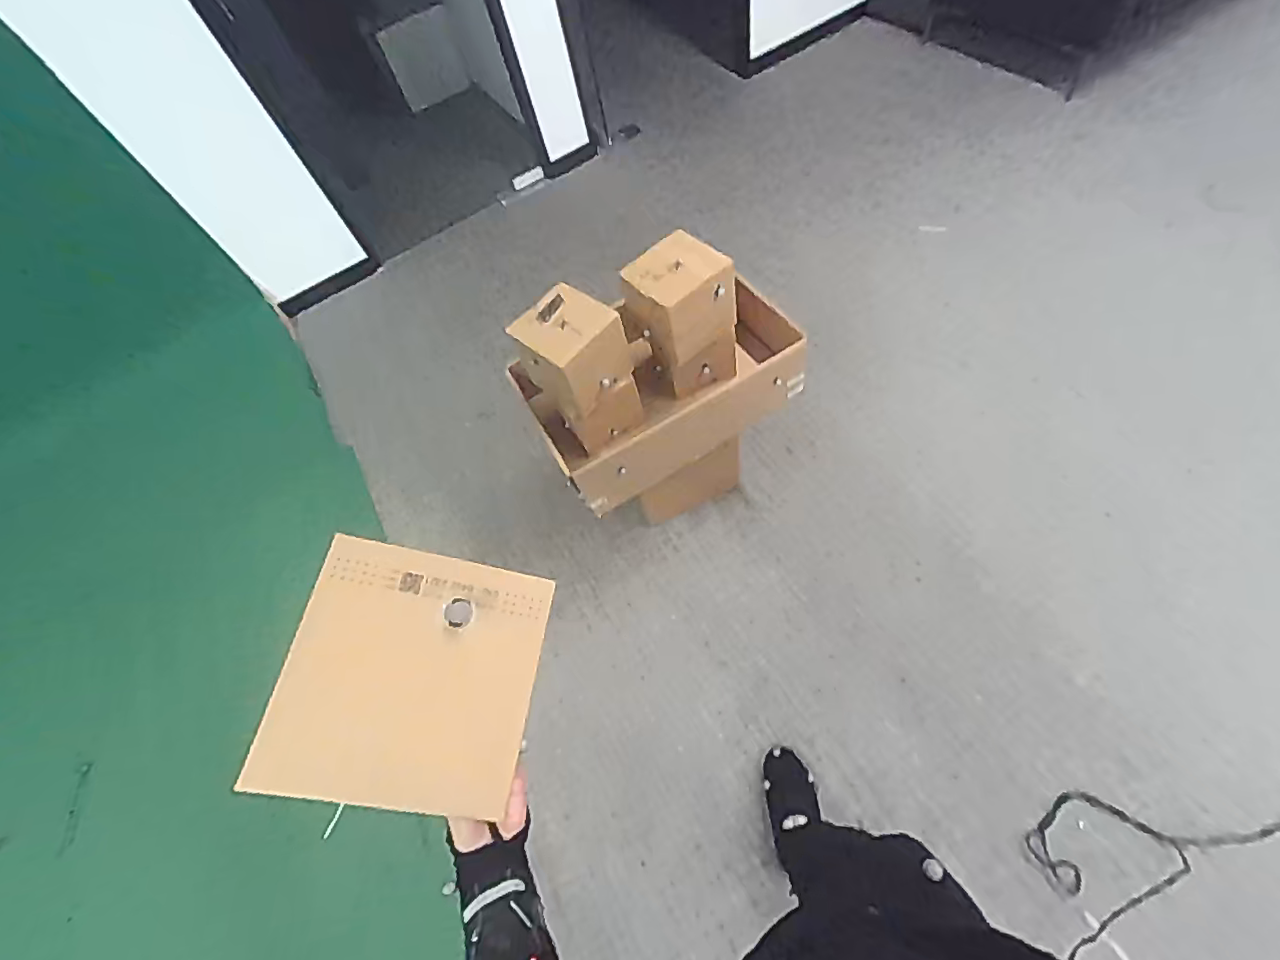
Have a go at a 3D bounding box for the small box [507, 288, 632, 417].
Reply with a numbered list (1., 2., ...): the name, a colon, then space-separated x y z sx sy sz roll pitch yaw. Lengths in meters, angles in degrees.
1. small box: -0.142 -0.263 1.137 0.179 0.176 0.168 36 73 26

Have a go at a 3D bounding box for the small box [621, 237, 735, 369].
1. small box: 0.085 -0.376 1.157 0.179 0.176 0.168 -38 58 -11

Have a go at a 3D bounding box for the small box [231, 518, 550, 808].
1. small box: -0.178 0.147 0.443 0.168 0.179 0.176 15 65 -13
